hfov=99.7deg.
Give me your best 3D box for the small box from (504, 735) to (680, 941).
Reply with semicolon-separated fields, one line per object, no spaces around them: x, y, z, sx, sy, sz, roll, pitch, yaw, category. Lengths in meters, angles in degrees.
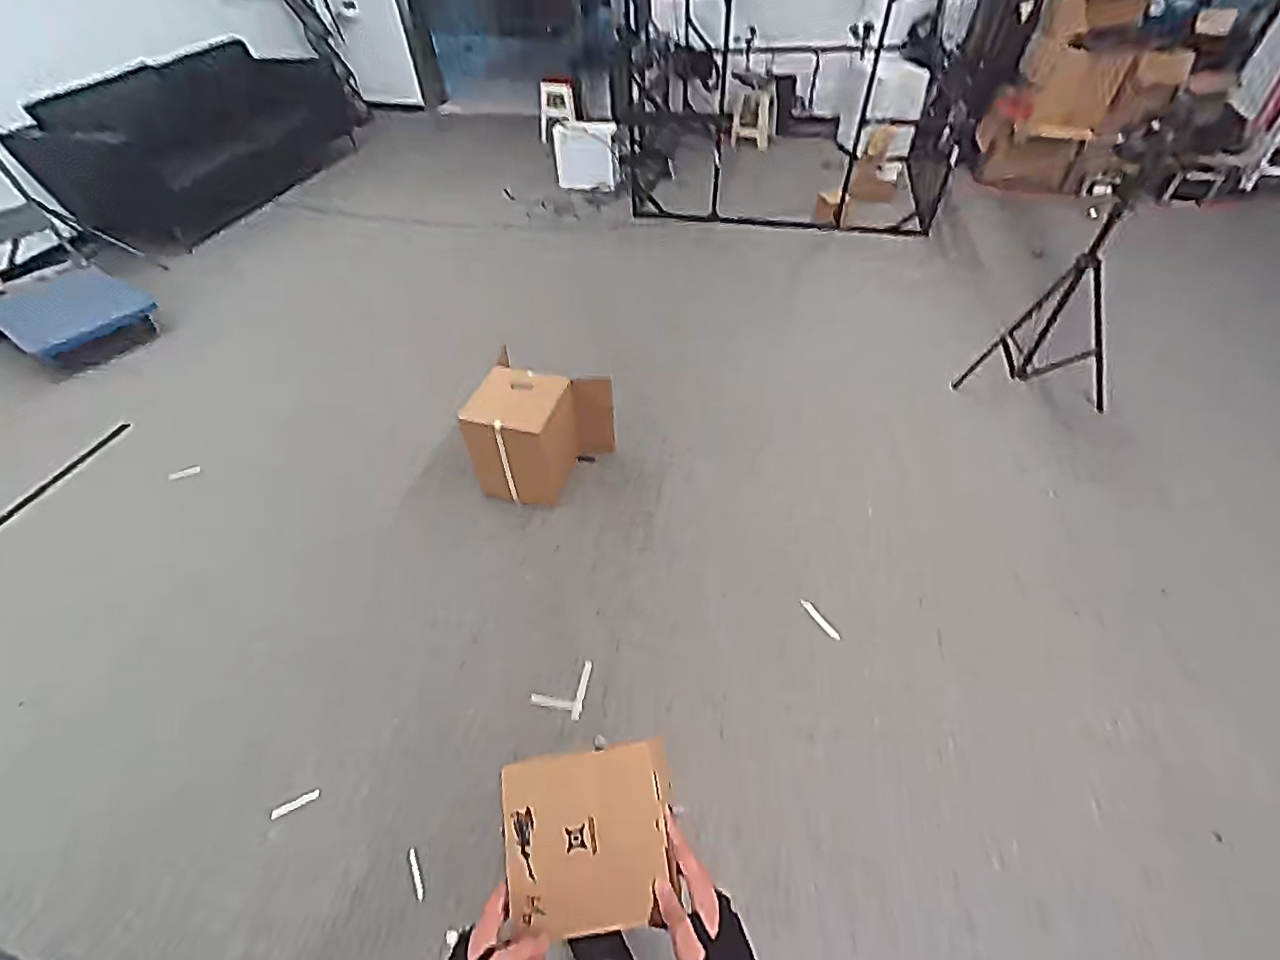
-0.050;0.412;0.652;0.179;0.176;0.168;-11;66;2;small box
